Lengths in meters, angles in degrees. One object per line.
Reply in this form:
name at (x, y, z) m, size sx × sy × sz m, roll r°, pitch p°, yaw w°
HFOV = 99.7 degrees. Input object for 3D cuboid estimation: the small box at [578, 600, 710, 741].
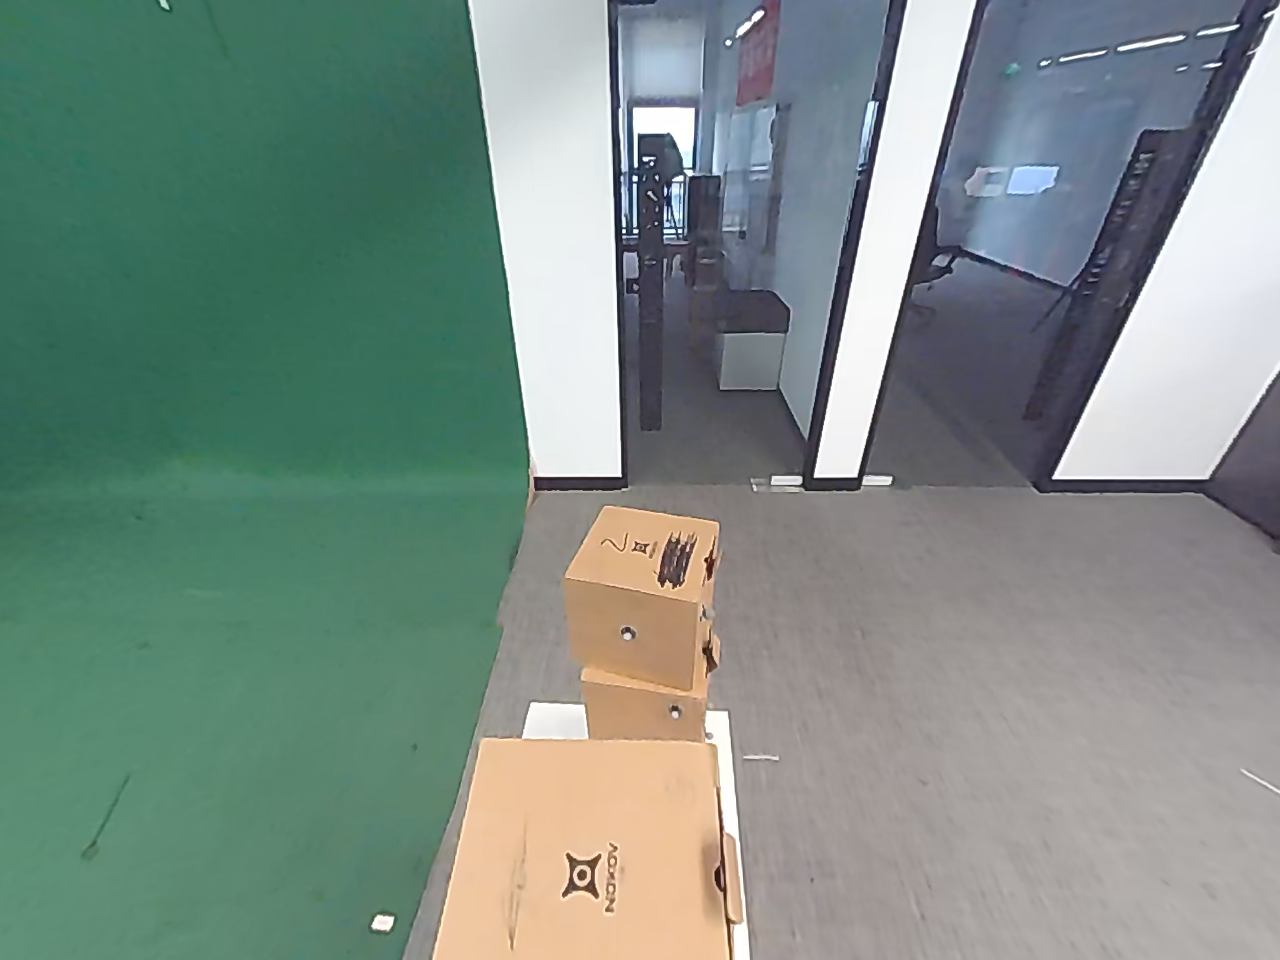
small box at (0.012, 0.314, 0.842) m, size 0.179 × 0.176 × 0.168 m, roll 5°, pitch 33°, yaw 8°

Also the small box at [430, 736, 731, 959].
small box at (-0.033, 0.306, 0.396) m, size 0.179 × 0.176 × 0.168 m, roll -1°, pitch 42°, yaw 2°
